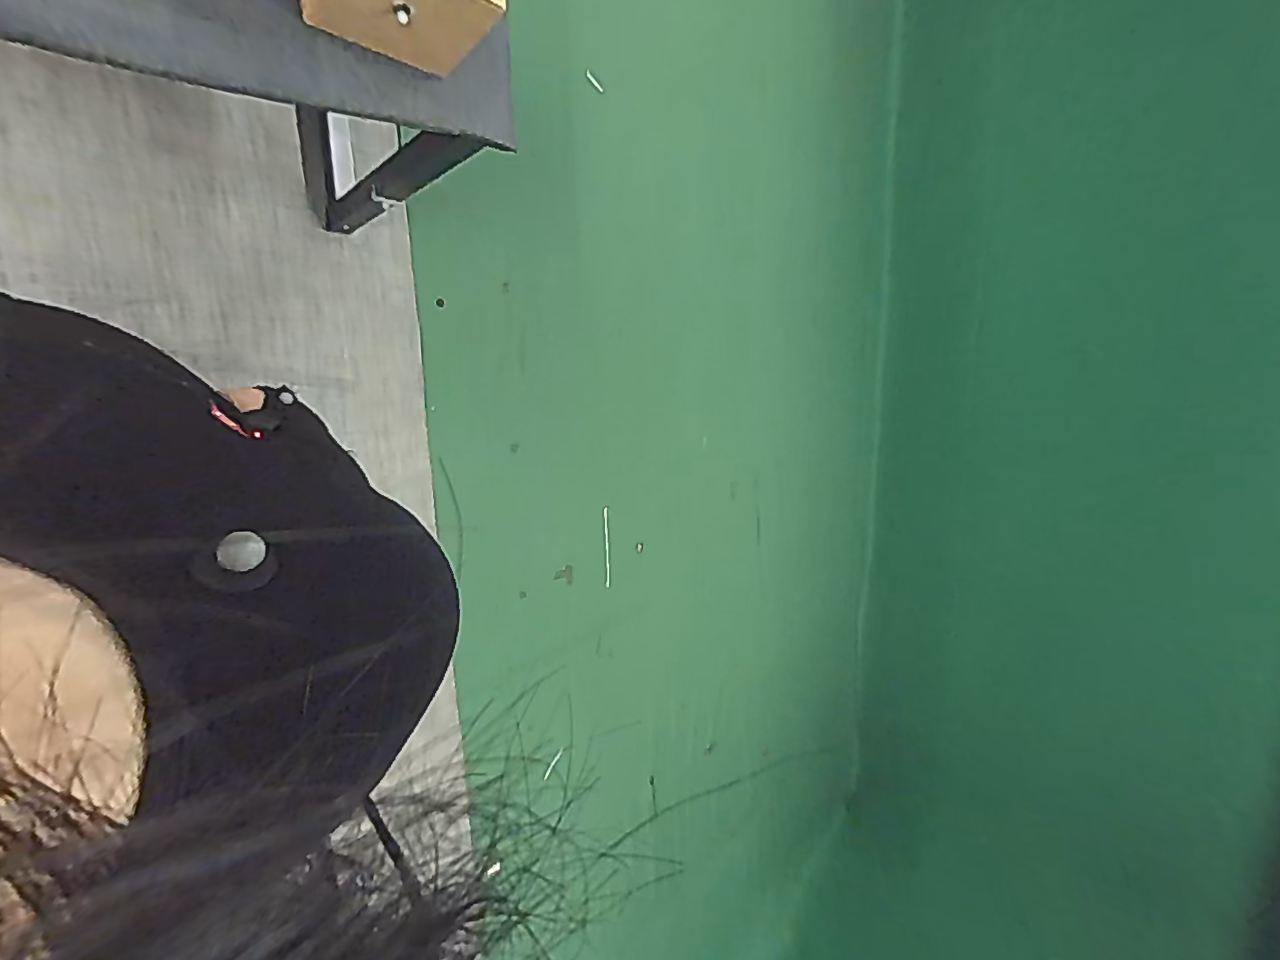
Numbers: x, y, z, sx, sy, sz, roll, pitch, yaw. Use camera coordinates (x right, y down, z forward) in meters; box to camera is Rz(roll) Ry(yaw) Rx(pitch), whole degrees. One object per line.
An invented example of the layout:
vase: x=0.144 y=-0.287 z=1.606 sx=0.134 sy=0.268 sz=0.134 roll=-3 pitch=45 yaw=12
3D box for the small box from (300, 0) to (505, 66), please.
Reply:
small box: x=-0.277 y=-0.621 z=0.617 sx=0.179 sy=0.176 sz=0.168 roll=-9 pitch=99 yaw=-43
